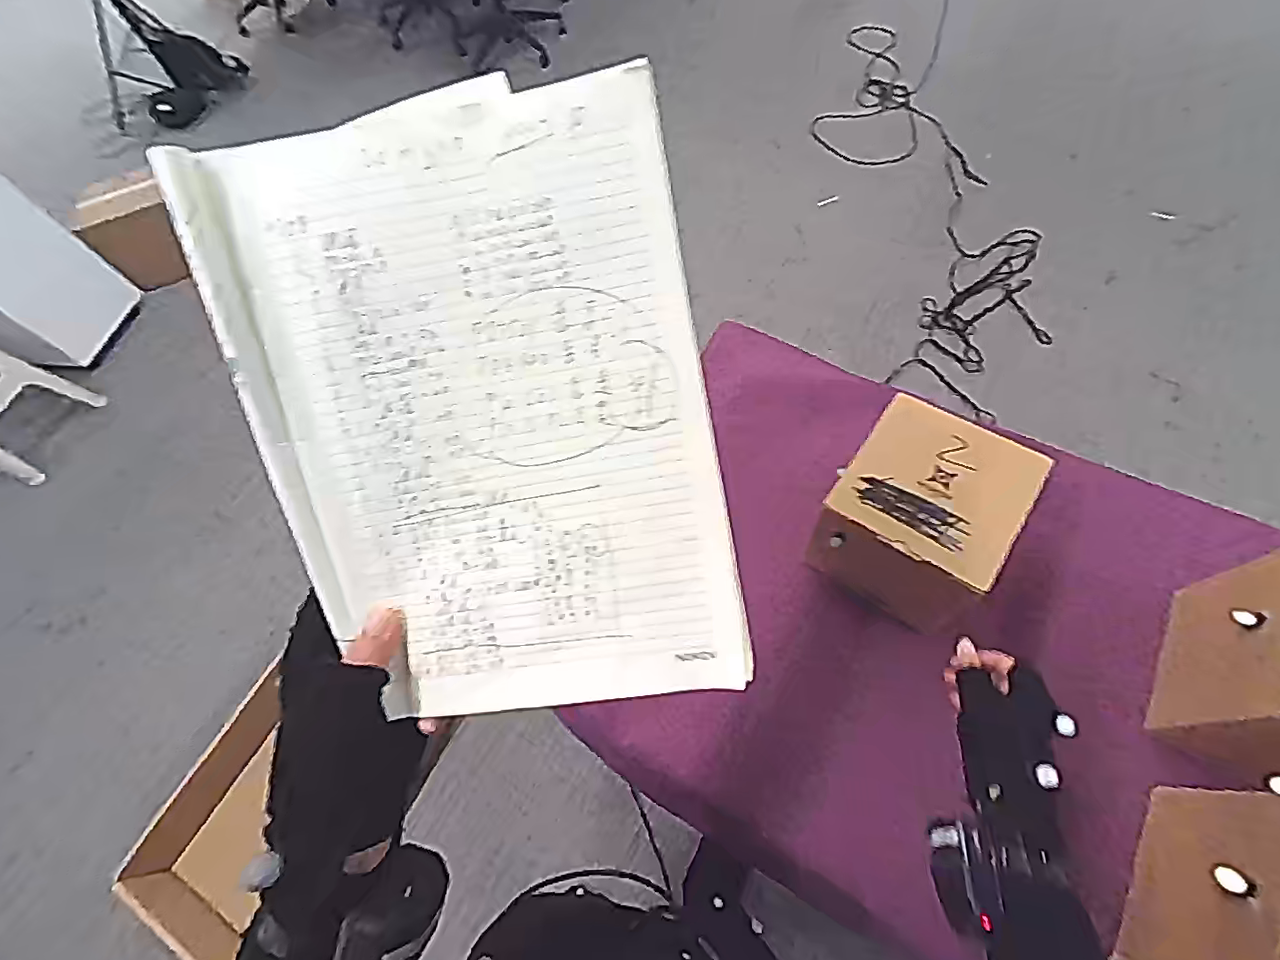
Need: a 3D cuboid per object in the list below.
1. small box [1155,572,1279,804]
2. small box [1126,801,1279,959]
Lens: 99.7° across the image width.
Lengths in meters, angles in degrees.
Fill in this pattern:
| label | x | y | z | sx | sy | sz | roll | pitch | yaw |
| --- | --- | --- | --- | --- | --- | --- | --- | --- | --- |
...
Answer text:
| label | x | y | z | sx | sy | sz | roll | pitch | yaw |
| --- | --- | --- | --- | --- | --- | --- | --- | --- | --- |
| small box | 0.632 | 0.197 | 0.494 | 0.168 | 0.176 | 0.179 | 27 | 69 | 21 |
| small box | 0.530 | 0.380 | 0.413 | 0.168 | 0.176 | 0.179 | 29 | 70 | 22 |
